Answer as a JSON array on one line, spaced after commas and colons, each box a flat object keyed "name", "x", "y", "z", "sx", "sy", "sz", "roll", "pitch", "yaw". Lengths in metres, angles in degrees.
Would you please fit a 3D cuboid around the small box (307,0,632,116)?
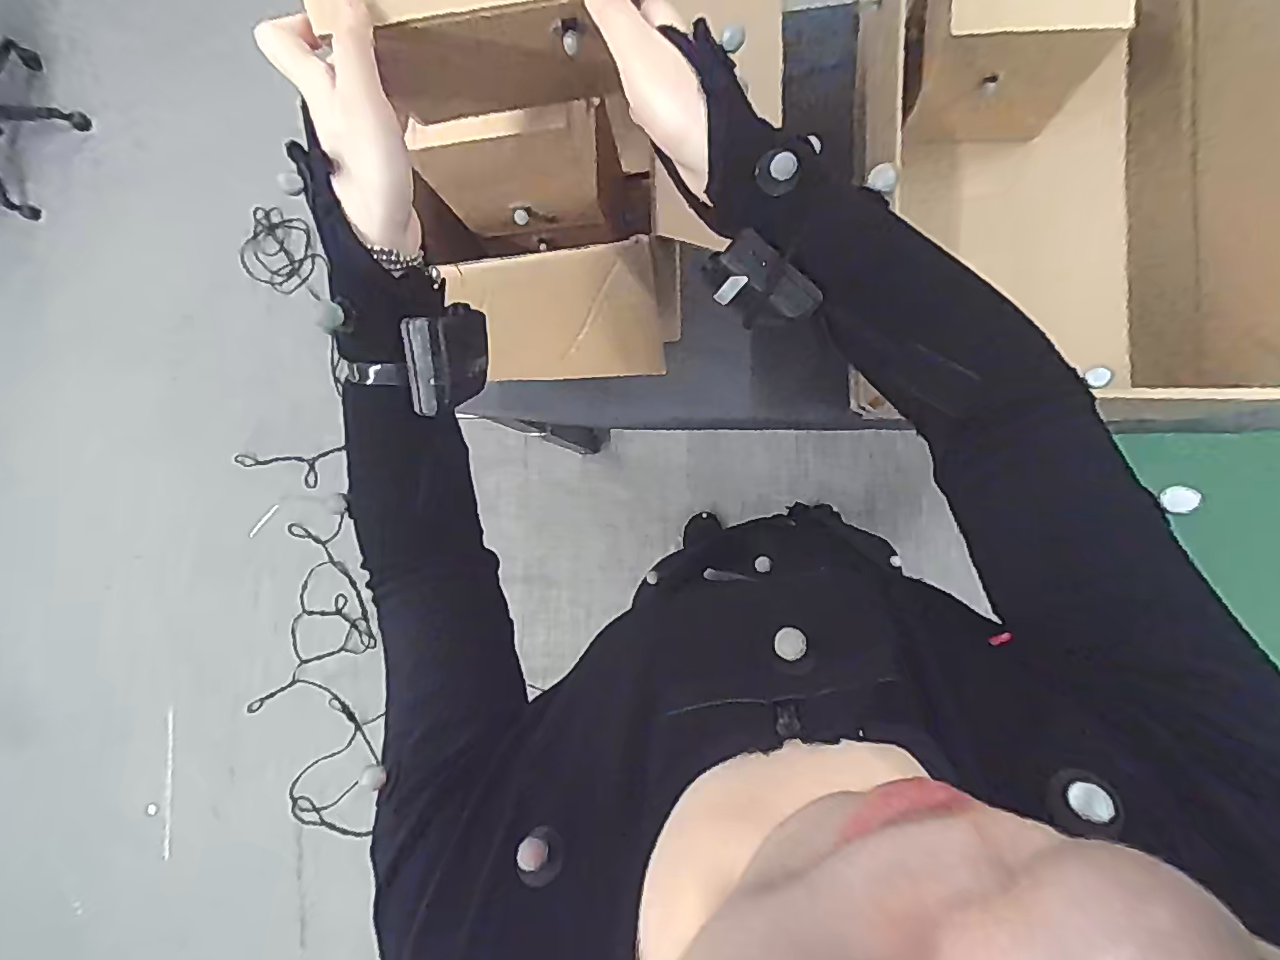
[{"name": "small box", "x": -0.100, "y": -0.347, "z": 0.329, "sx": 0.179, "sy": 0.176, "sz": 0.168, "roll": -10, "pitch": 112, "yaw": -1}]
